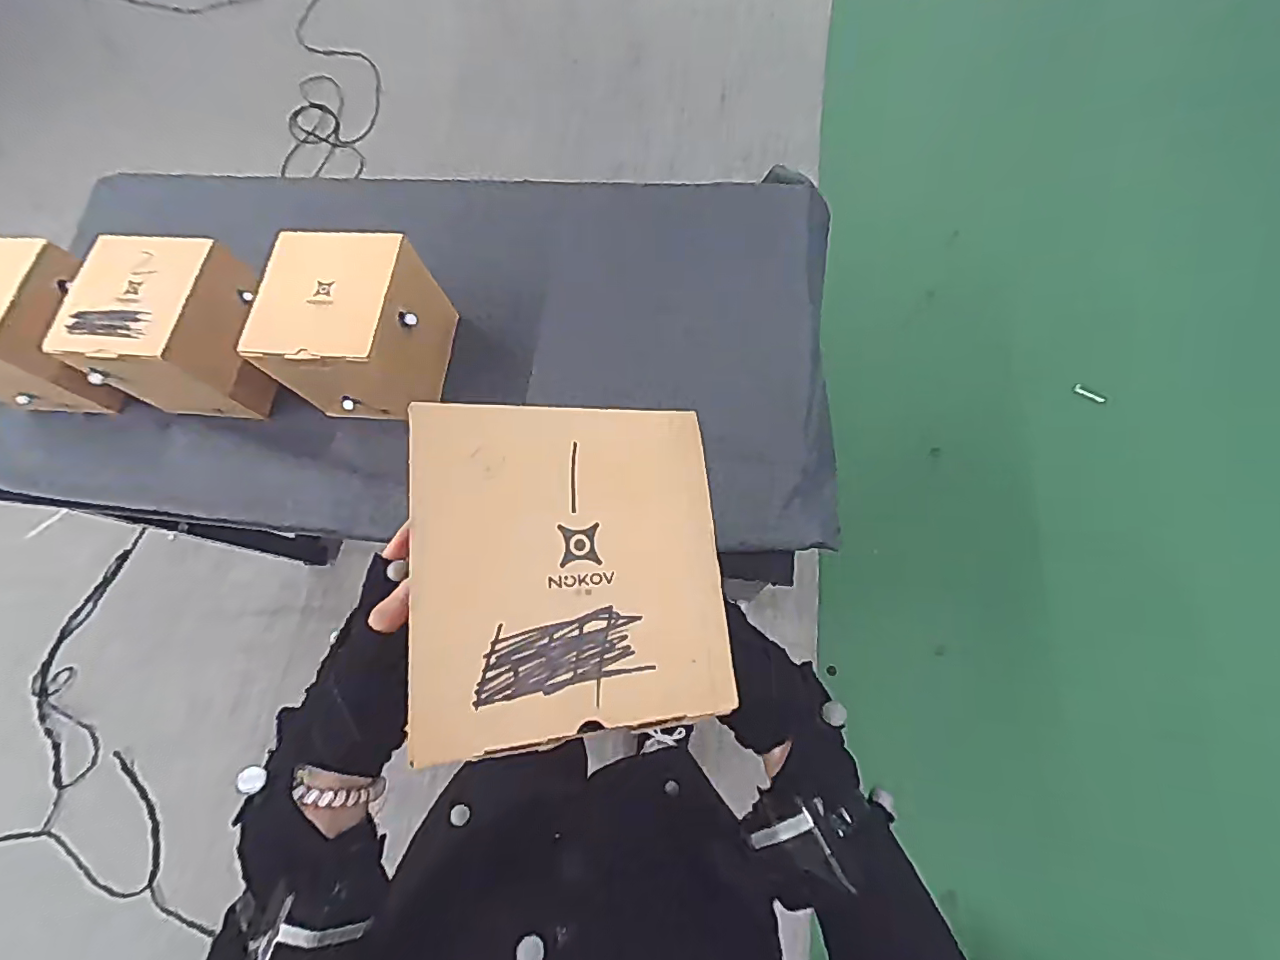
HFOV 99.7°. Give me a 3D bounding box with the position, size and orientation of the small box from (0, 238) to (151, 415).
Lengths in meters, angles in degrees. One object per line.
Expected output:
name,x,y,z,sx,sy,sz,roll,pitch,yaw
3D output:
small box,-0.852,-0.210,0.756,0.168,0.176,0.179,3,71,5

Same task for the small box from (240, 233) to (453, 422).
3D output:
small box,-0.366,-0.194,0.714,0.168,0.176,0.179,4,73,6

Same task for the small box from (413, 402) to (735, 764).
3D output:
small box,-0.057,0.062,0.359,0.168,0.176,0.179,0,76,-21
